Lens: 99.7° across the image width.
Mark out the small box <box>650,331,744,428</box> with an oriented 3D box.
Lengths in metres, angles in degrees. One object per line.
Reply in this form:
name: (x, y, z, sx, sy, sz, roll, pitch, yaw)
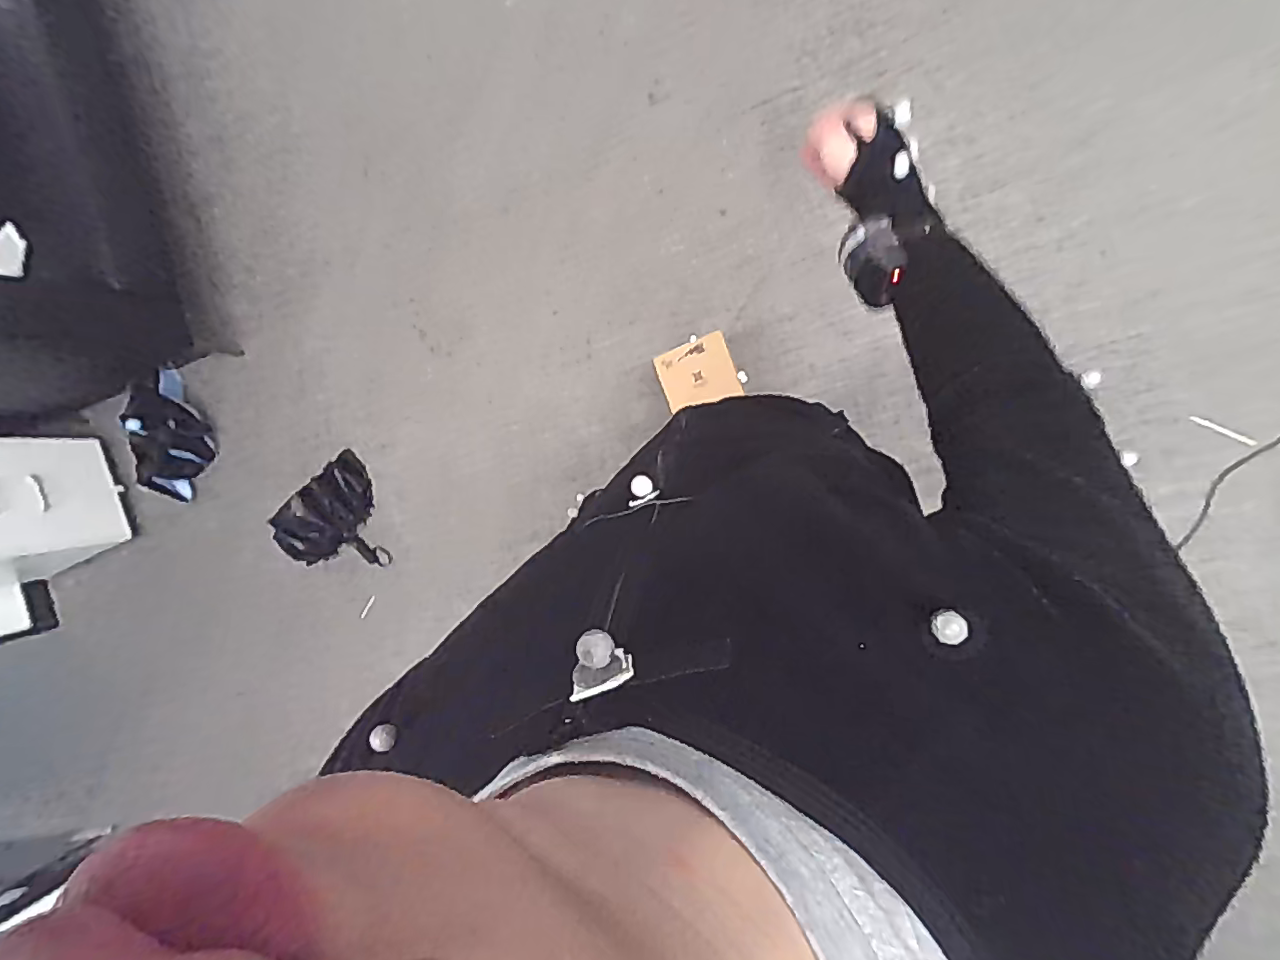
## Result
small box: (0.144, -0.233, 1.291, 0.168, 0.176, 0.179, -21, 90, 15)
